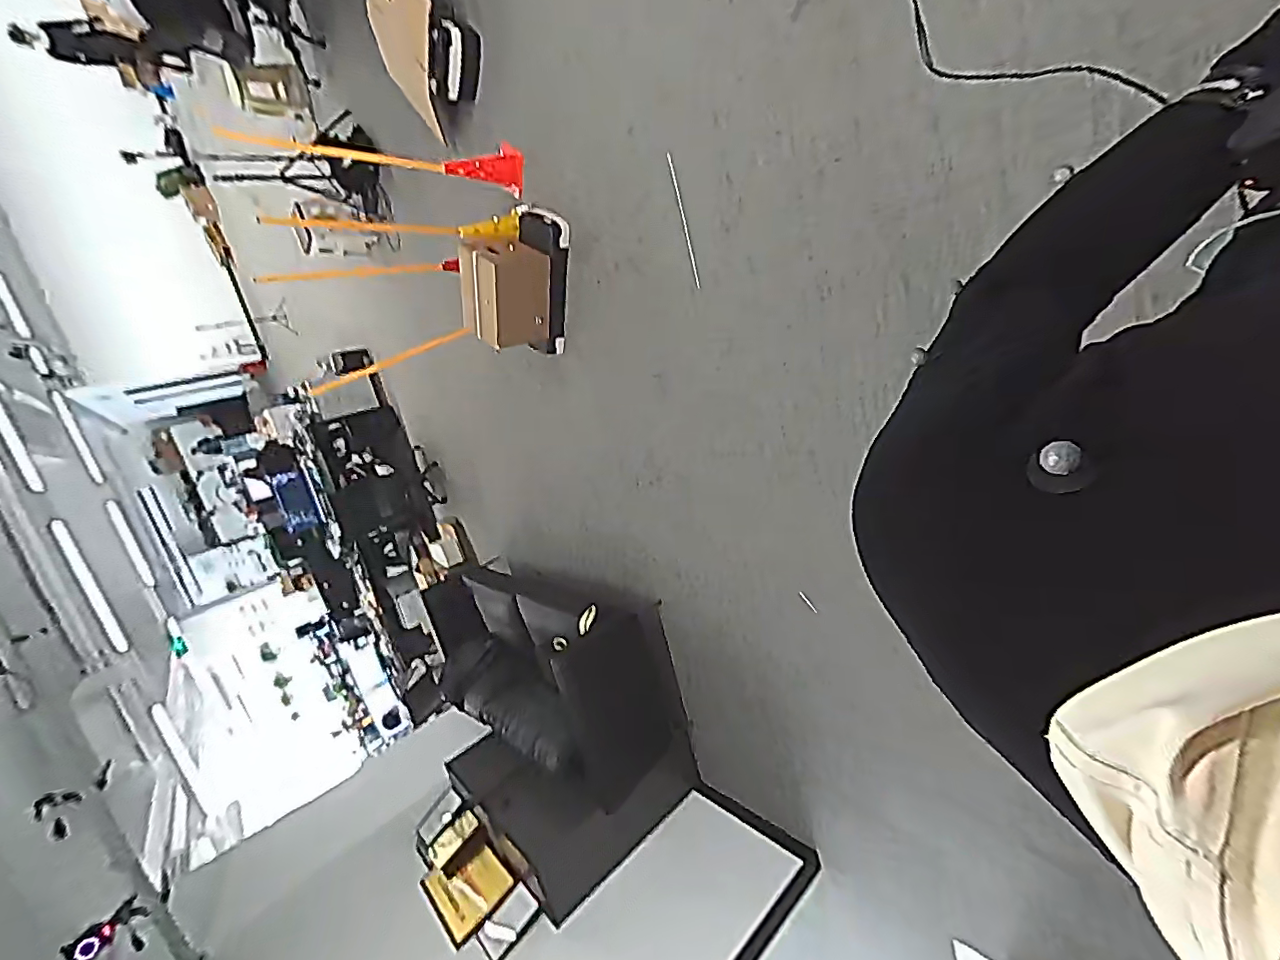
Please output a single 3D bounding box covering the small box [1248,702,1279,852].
[{"bbox_3d":[1.098,0.494,0.852,0.168,0.176,0.179,6,114,51],"label":"small box"}]
